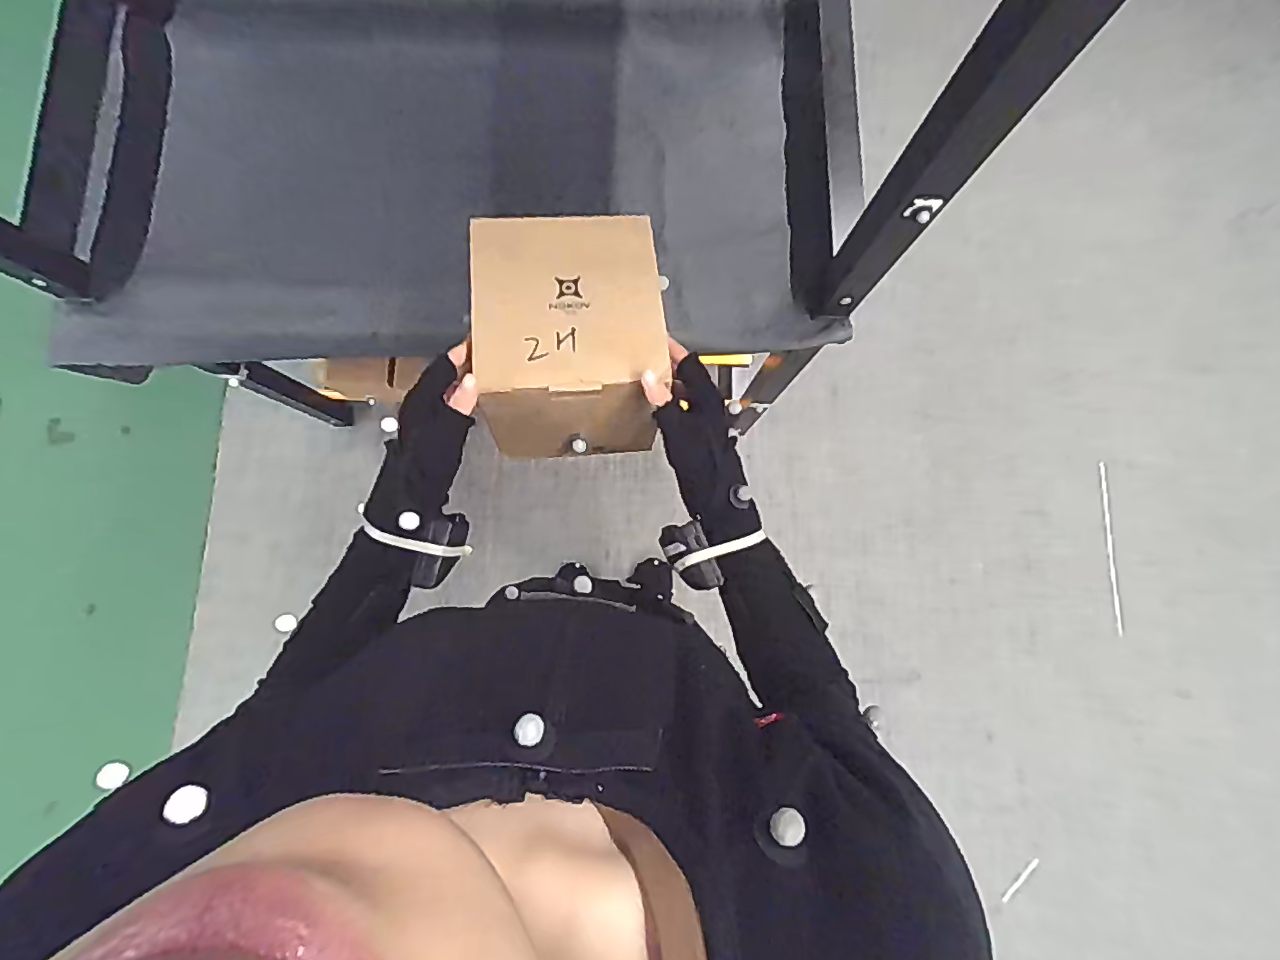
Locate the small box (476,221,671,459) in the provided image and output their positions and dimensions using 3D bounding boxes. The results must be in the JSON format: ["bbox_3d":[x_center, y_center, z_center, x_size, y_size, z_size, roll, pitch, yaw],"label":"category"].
[{"bbox_3d":[-0.069,-0.135,0.554,0.168,0.176,0.179,-4,72,-7],"label":"small box"}]
